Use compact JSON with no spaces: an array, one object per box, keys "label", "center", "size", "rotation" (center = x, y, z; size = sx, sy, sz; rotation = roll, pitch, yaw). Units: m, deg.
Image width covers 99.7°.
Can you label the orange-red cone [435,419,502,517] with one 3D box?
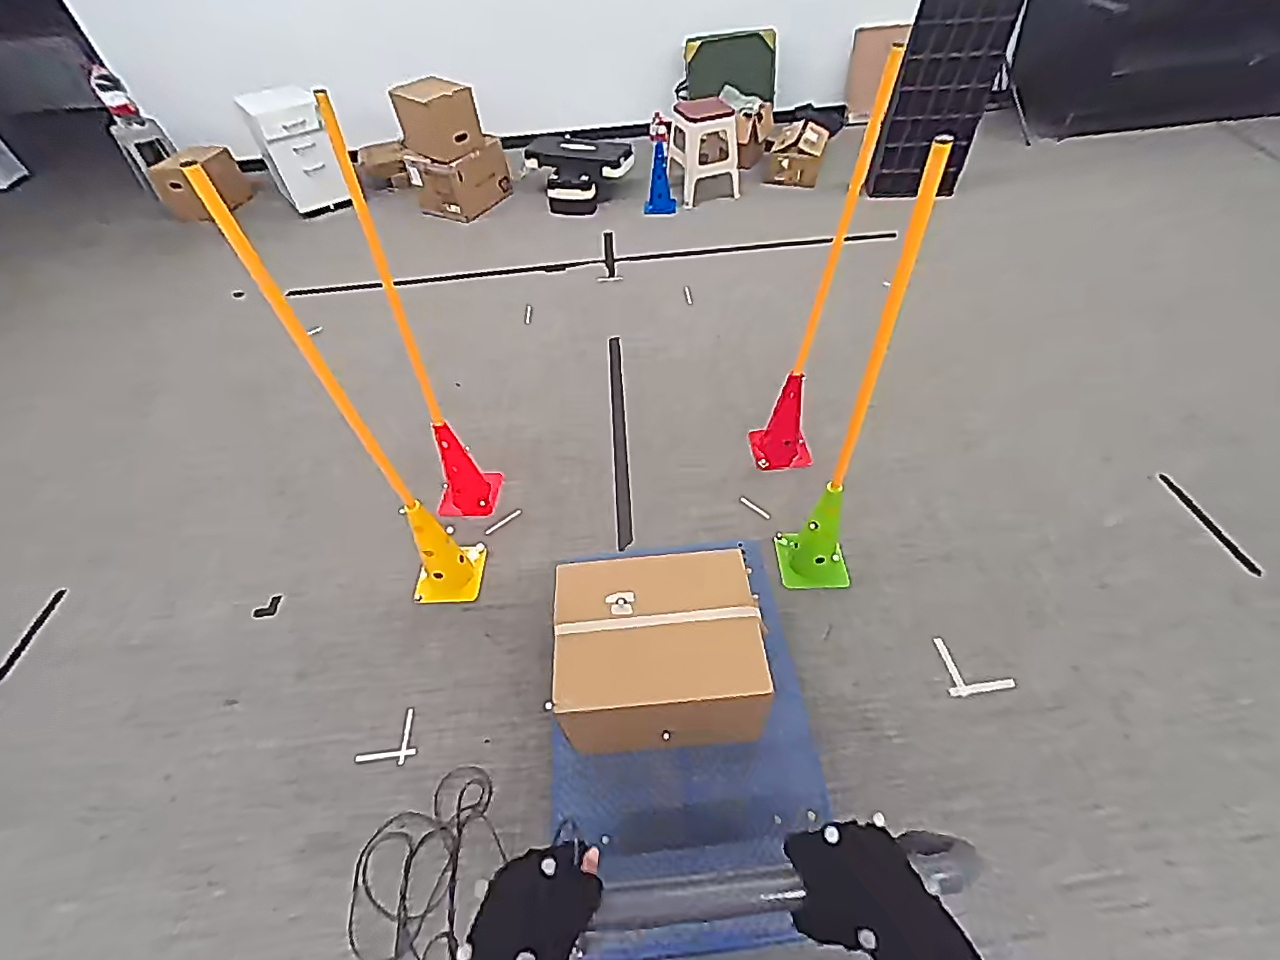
[{"label":"orange-red cone","center":[-0.613,-0.063,1.811],"size":[0.198,0.360,0.199],"rotation":[1,48,4]}]

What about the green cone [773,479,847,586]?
[{"label":"green cone","center":[0.522,0.131,1.561],"size":[0.202,0.368,0.200],"rotation":[-2,49,1]}]

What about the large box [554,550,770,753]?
[{"label":"large box","center":[0.040,0.383,1.190],"size":[0.408,0.320,0.320],"rotation":[-6,50,0]}]

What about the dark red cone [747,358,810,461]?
[{"label":"dark red cone","center":[0.504,-0.249,1.864],"size":[0.201,0.394,0.202],"rotation":[-4,50,-2]}]
